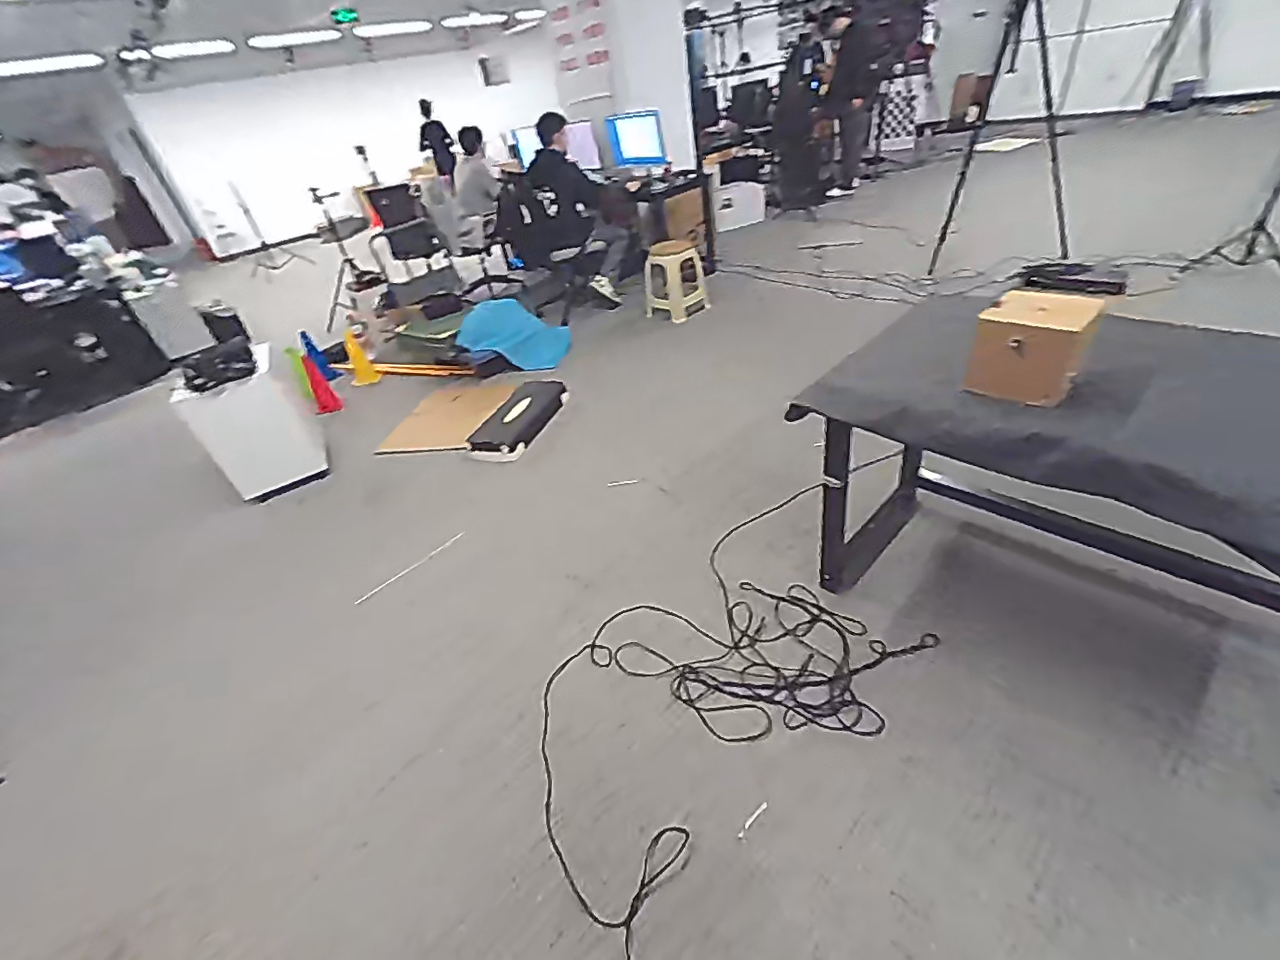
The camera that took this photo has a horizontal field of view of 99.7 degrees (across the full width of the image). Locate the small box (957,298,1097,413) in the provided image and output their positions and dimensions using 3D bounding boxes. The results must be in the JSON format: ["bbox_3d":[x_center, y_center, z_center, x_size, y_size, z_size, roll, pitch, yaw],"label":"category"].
[{"bbox_3d":[0.787,-0.259,1.116,0.168,0.176,0.179,-35,43,-29],"label":"small box"}]
